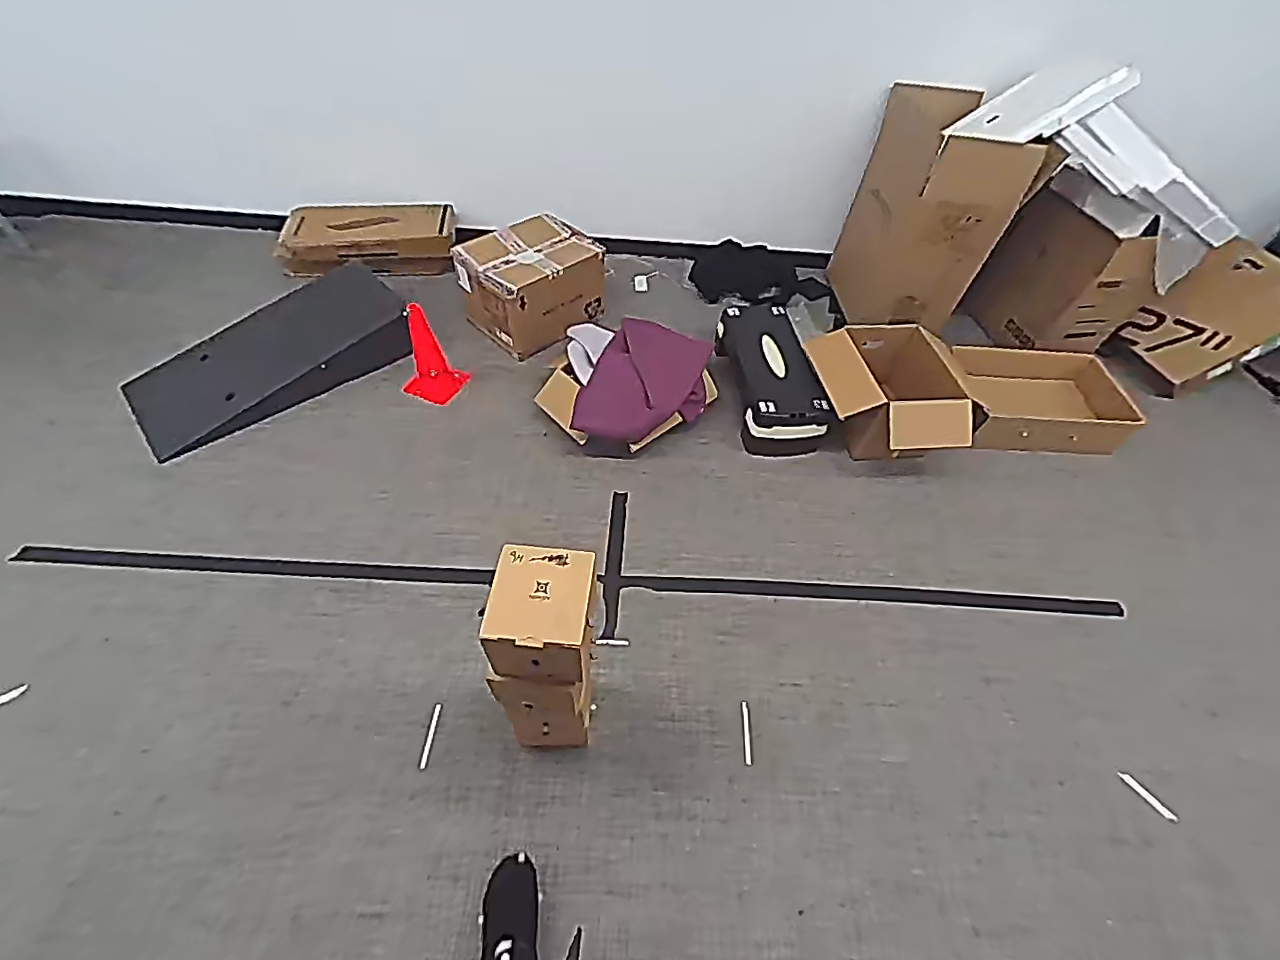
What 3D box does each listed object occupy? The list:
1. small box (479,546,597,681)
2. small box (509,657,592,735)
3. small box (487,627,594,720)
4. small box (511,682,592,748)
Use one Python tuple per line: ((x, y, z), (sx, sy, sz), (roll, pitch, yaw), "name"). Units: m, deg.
((-0.167, 0.241, 0.954), (0.168, 0.176, 0.179), (6, 51, 1), "small box")
((-0.196, 0.450, 1.204), (0.168, 0.176, 0.179), (4, 52, -1), "small box")
((-0.187, 0.354, 1.073), (0.168, 0.176, 0.179), (8, 52, 3), "small box")
((-0.211, 0.553, 1.331), (0.179, 0.176, 0.168), (1, 51, -4), "small box")
